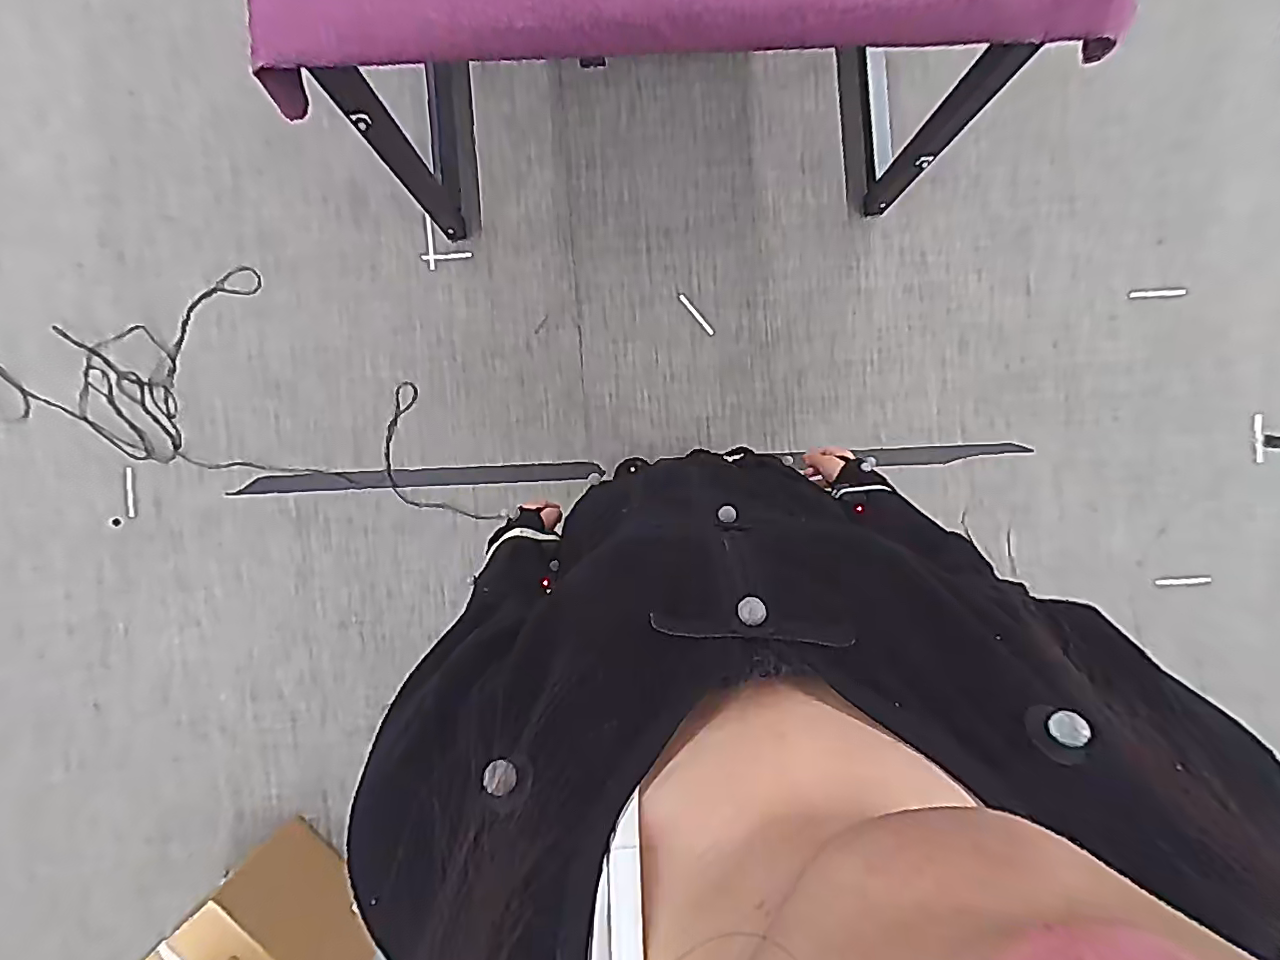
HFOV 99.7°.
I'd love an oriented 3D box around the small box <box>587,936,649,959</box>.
[{"bbox_3d":[-0.048,1.376,1.434,0.168,0.176,0.179,-13,91,-2],"label":"small box"}]
